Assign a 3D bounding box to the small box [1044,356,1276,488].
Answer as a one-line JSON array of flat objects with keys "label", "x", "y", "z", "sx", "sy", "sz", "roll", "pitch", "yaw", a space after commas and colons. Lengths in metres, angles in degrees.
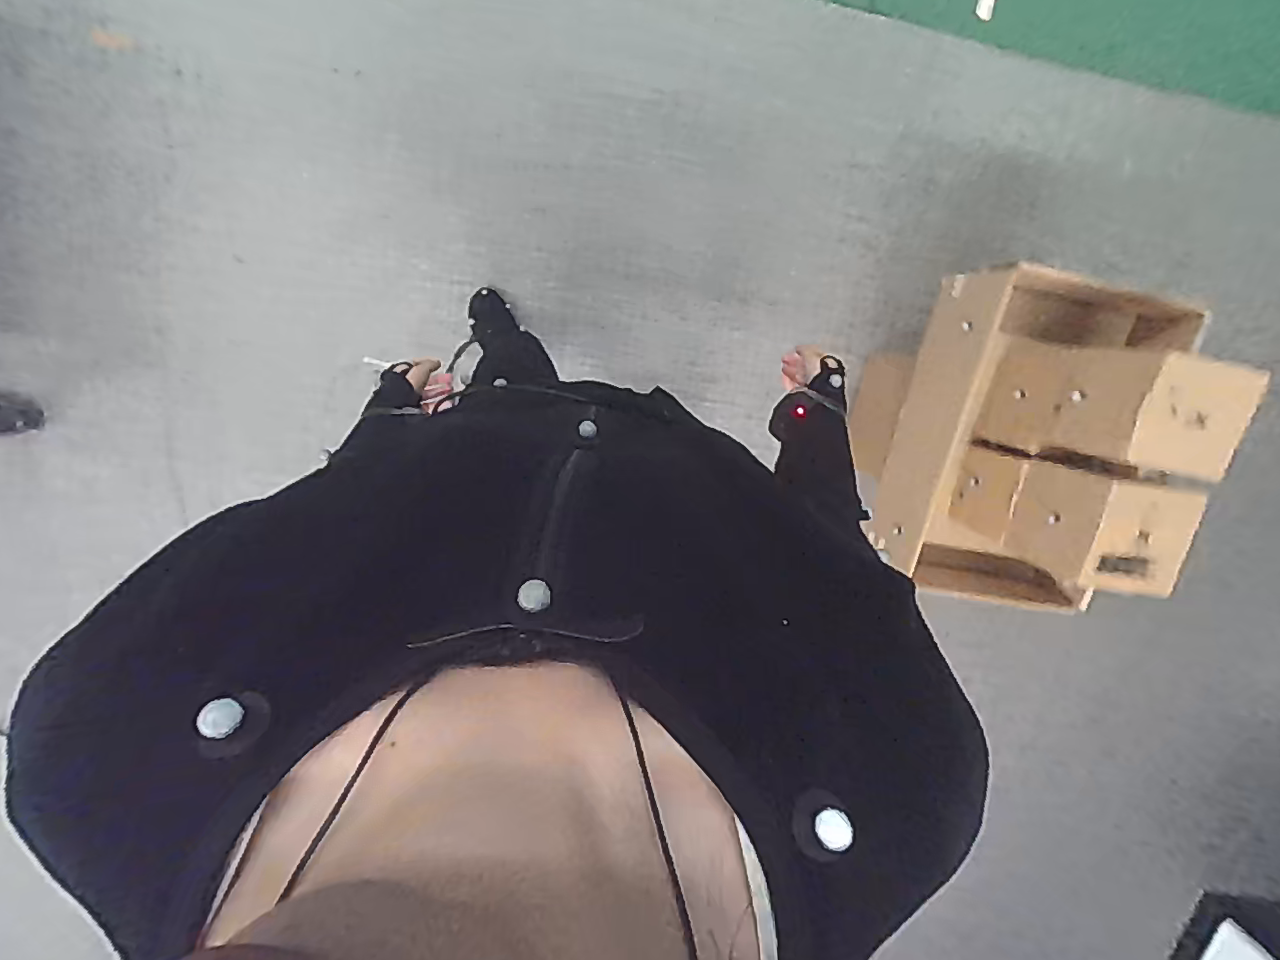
[{"label": "small box", "x": 0.814, "y": -0.101, "z": 0.867, "sx": 0.179, "sy": 0.176, "sz": 0.168, "roll": 11, "pitch": 104, "yaw": -6}]
